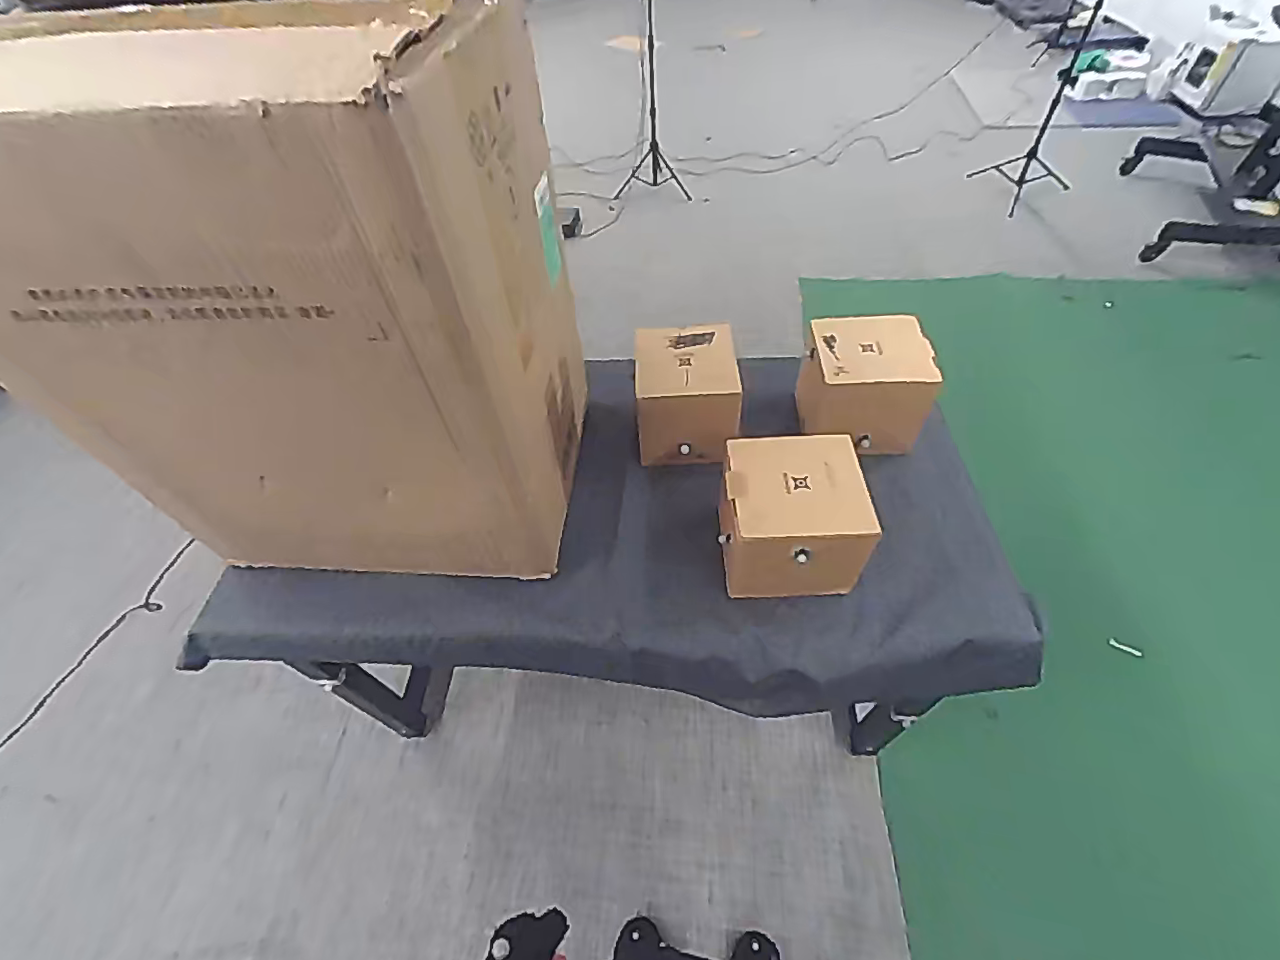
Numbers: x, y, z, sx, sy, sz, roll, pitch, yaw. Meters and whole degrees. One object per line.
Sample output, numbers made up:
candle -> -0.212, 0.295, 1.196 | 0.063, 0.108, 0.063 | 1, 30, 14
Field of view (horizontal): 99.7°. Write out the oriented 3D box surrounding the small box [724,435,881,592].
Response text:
small box -> 0.217, 0.053, 0.782 | 0.179, 0.176, 0.168 | -2, 53, 2

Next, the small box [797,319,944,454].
small box -> 0.384, -0.157, 0.936 | 0.179, 0.176, 0.168 | 1, 50, 4
